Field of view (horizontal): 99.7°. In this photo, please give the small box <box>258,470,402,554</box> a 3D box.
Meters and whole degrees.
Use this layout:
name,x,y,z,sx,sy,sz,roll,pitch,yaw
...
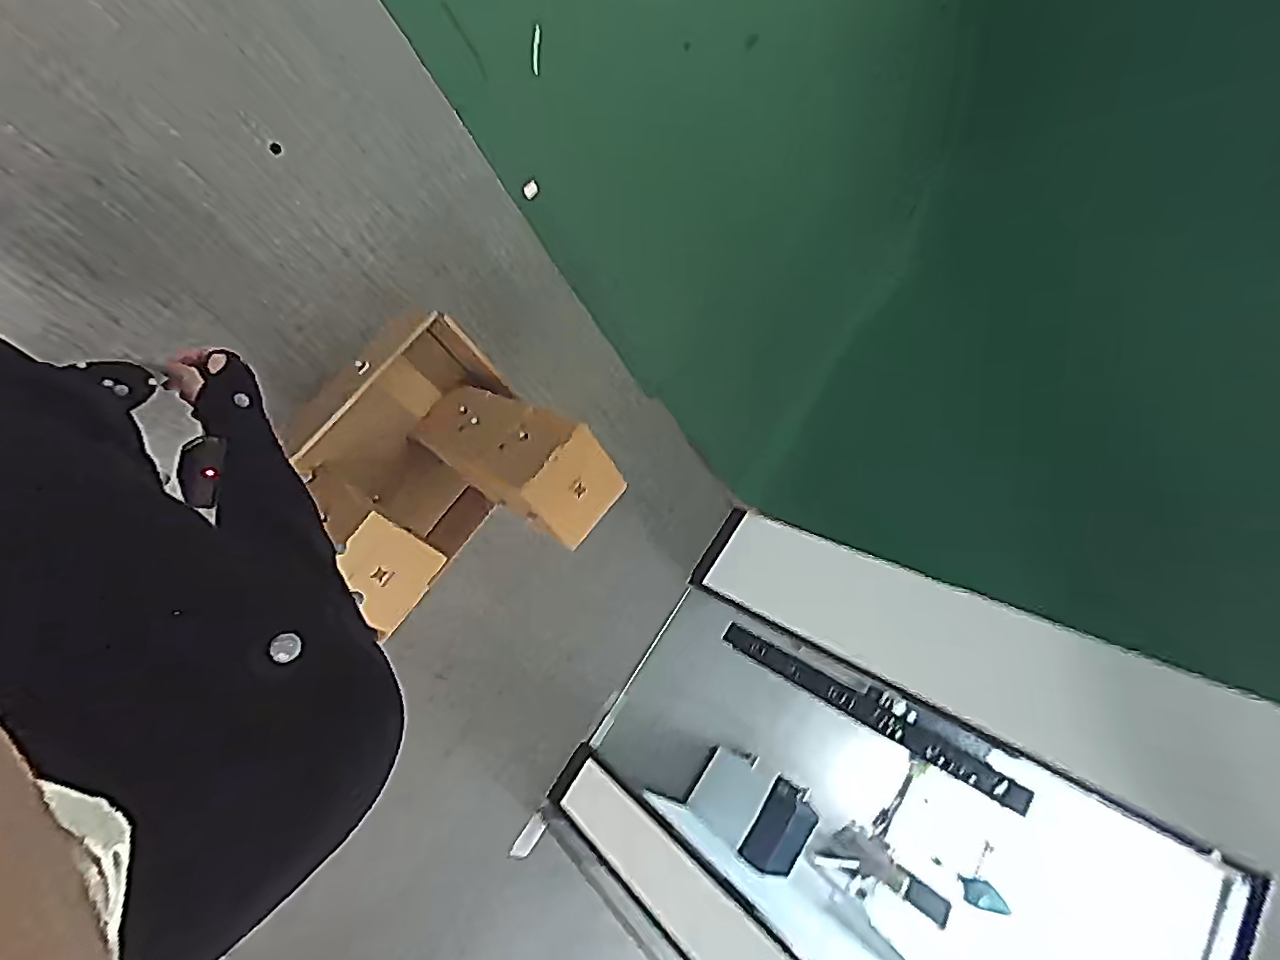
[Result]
name,x,y,z,sx,sy,sz,roll,pitch,yaw
small box,-0.621,0.097,1.086,0.168,0.176,0.179,-54,136,-16

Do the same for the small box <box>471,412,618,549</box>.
name,x,y,z,sx,sy,sz,roll,pitch,yaw
small box,-0.179,-0.006,1.016,0.168,0.176,0.179,-50,133,-20

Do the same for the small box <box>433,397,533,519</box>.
name,x,y,z,sx,sy,sz,roll,pitch,yaw
small box,-0.288,-0.051,1.126,0.168,0.176,0.179,-51,134,-19

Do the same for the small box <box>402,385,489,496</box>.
name,x,y,z,sx,sy,sz,roll,pitch,yaw
small box,-0.400,-0.097,1.237,0.168,0.176,0.179,-52,135,-18

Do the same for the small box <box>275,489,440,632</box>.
name,x,y,z,sx,sy,sz,roll,pitch,yaw
small box,-0.508,0.138,0.975,0.168,0.176,0.179,-55,135,-16
